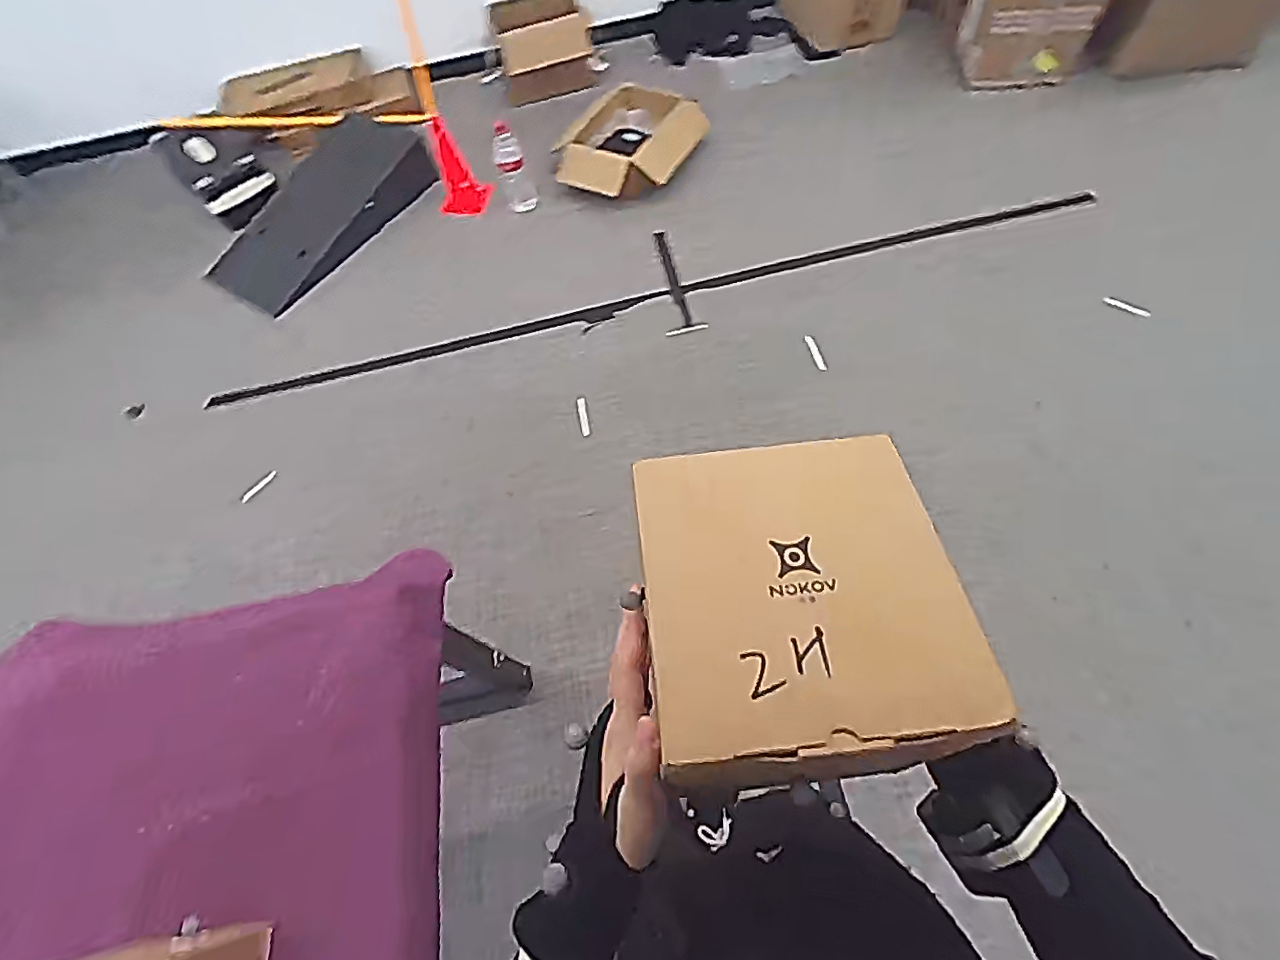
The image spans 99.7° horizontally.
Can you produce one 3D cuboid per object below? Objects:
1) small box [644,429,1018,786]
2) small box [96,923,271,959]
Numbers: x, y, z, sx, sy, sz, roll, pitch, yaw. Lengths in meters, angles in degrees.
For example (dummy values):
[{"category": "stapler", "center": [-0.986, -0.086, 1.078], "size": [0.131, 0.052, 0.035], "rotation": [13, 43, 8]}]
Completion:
[{"category": "small box", "center": [0.091, 0.090, 0.360], "size": [0.168, 0.176, 0.179], "rotation": [-6, 56, 0]}, {"category": "small box", "center": [-0.479, 0.546, 0.494], "size": [0.168, 0.176, 0.179], "rotation": [-11, 61, 0]}]
